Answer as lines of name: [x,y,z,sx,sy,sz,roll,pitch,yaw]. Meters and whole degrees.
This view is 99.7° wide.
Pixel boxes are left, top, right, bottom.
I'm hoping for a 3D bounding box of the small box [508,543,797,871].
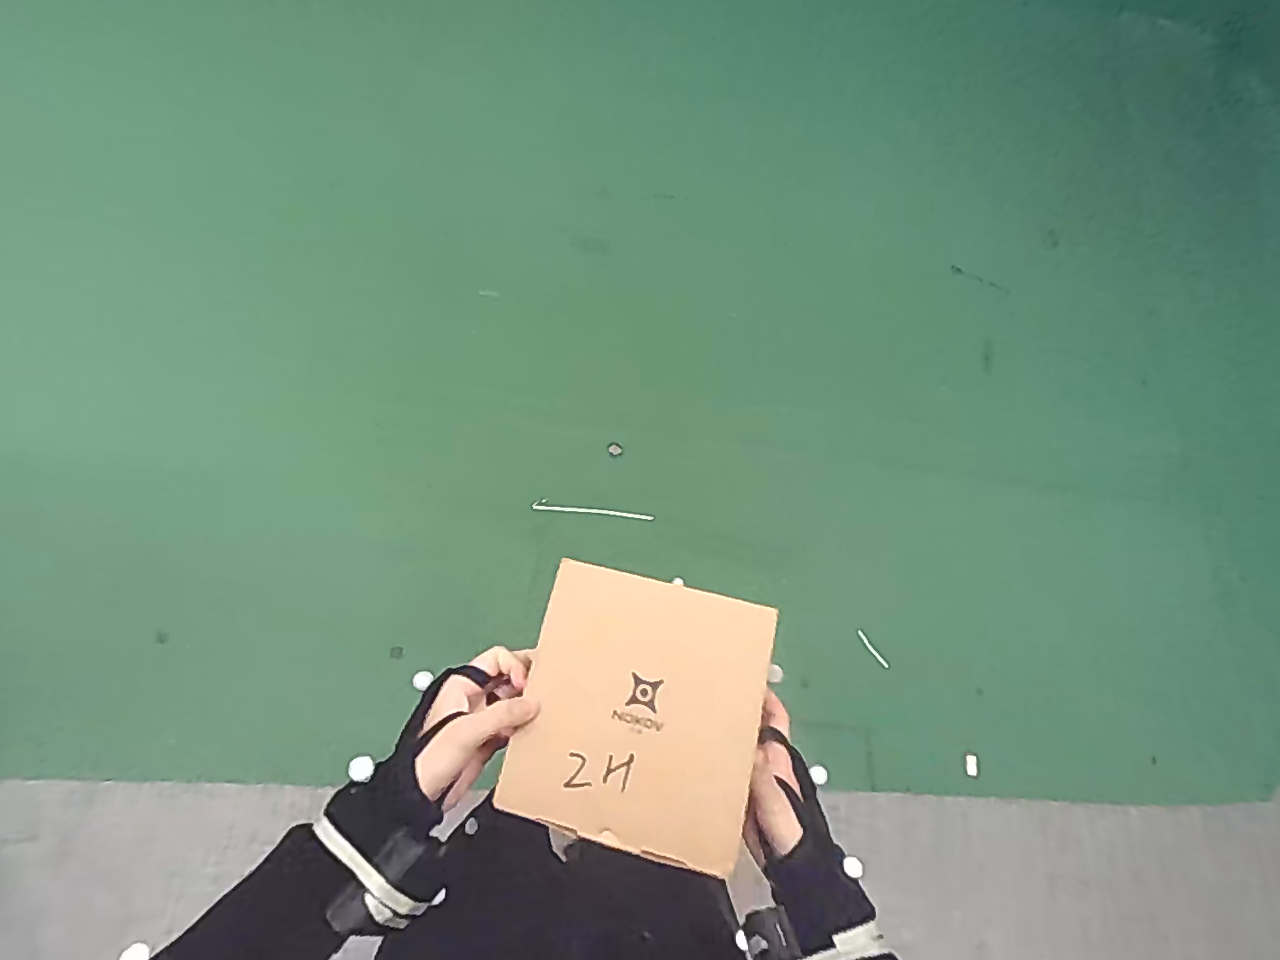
small box: [0.015,0.171,0.447,0.168,0.176,0.179,14,73,7]
